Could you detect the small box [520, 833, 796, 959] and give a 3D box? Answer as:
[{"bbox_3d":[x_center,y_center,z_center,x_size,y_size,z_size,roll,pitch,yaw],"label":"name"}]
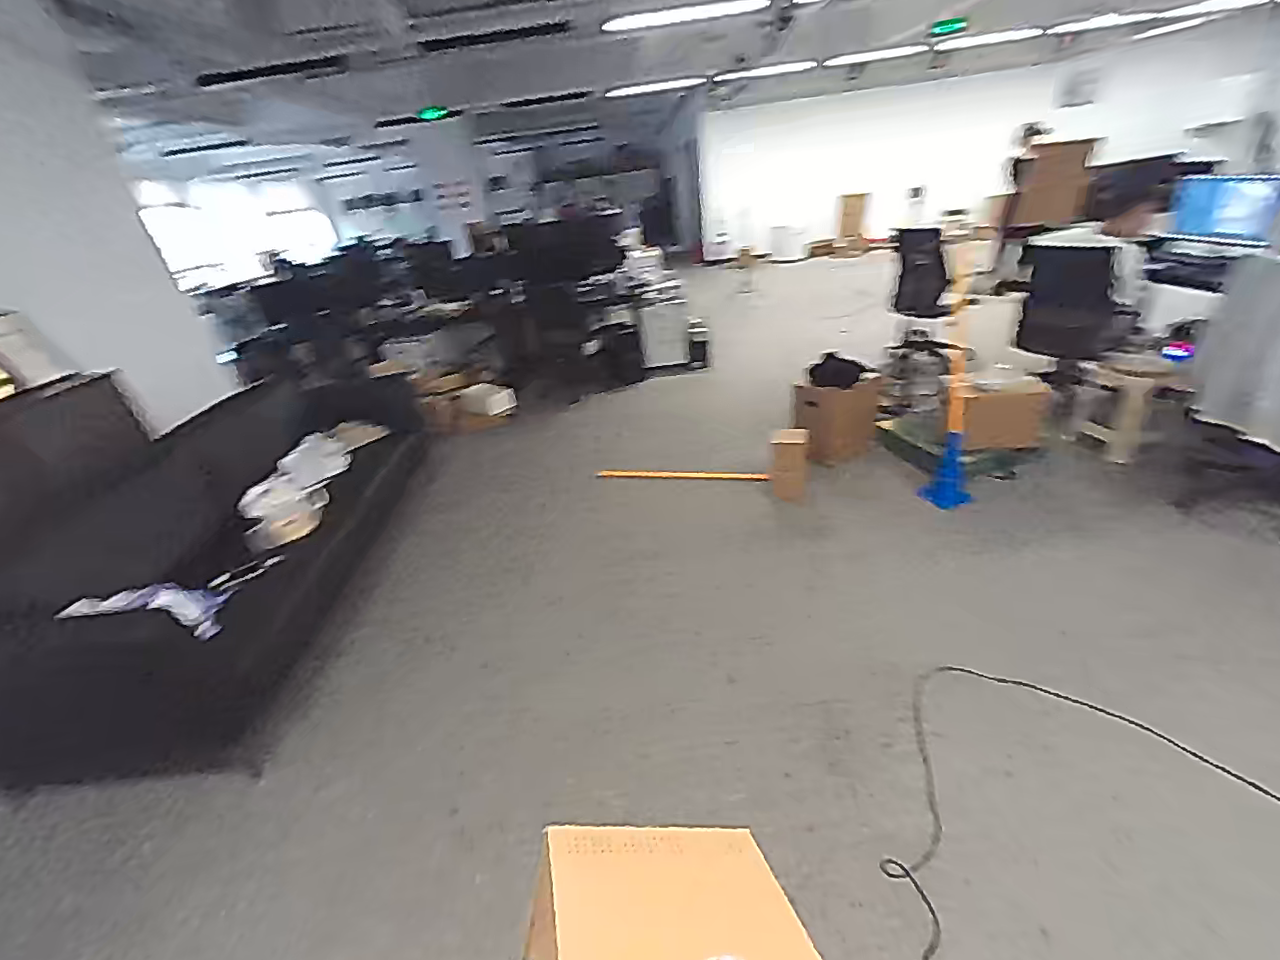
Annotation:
[{"bbox_3d":[0.011,0.382,0.378,0.179,0.168,0.176,10,4,-14],"label":"small box"}]
